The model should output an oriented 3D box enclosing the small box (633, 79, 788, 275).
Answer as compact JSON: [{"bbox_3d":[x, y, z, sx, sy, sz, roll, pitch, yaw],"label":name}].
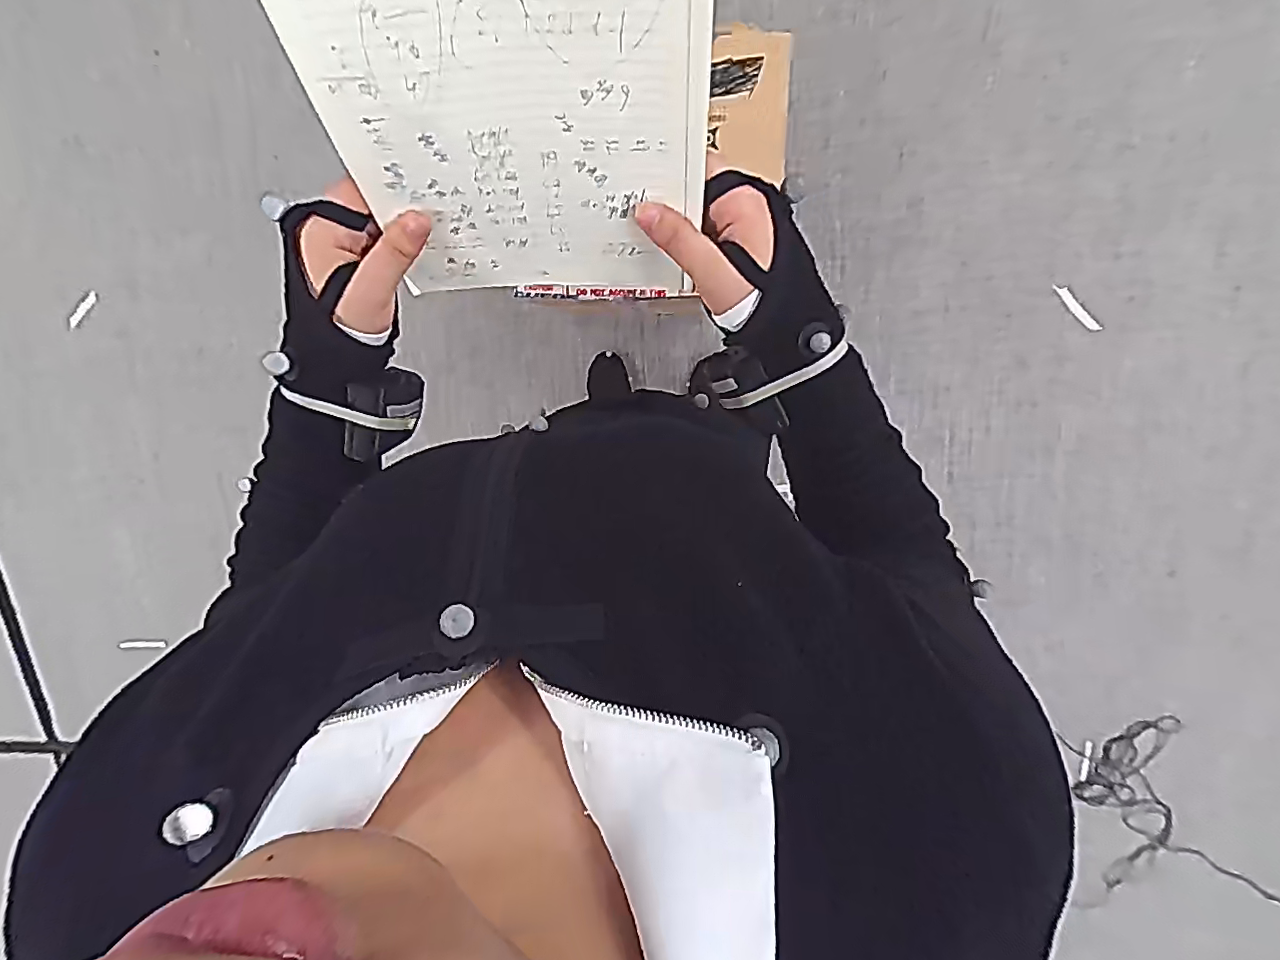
[{"bbox_3d":[0.074,-0.356,0.665,0.168,0.176,0.179,0,105,1],"label":"small box"}]

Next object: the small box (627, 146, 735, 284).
[{"bbox_3d":[0.074,-0.397,0.824,0.179,0.176,0.168,-3,104,2],"label":"small box"}]
